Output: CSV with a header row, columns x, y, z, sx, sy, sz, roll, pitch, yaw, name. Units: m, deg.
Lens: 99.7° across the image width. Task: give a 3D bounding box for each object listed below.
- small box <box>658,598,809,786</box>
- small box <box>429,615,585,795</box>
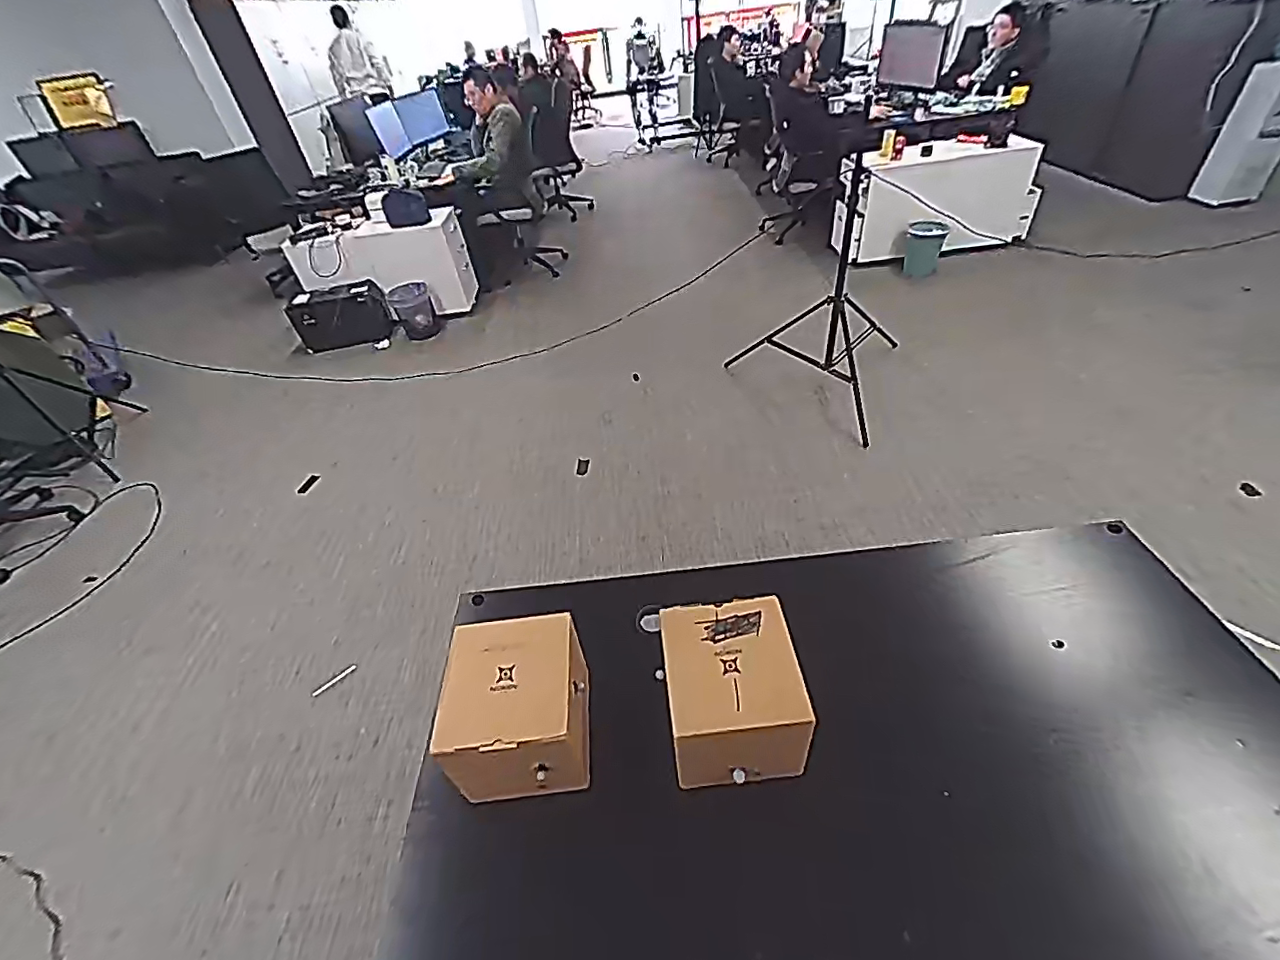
x,y,z,sx,sy,sz,roll,pitch,yaw,name
0.116,0.289,0.738,0.168,0.176,0.179,-7,42,1,small box
-0.169,0.317,0.753,0.168,0.176,0.179,-7,41,-1,small box
